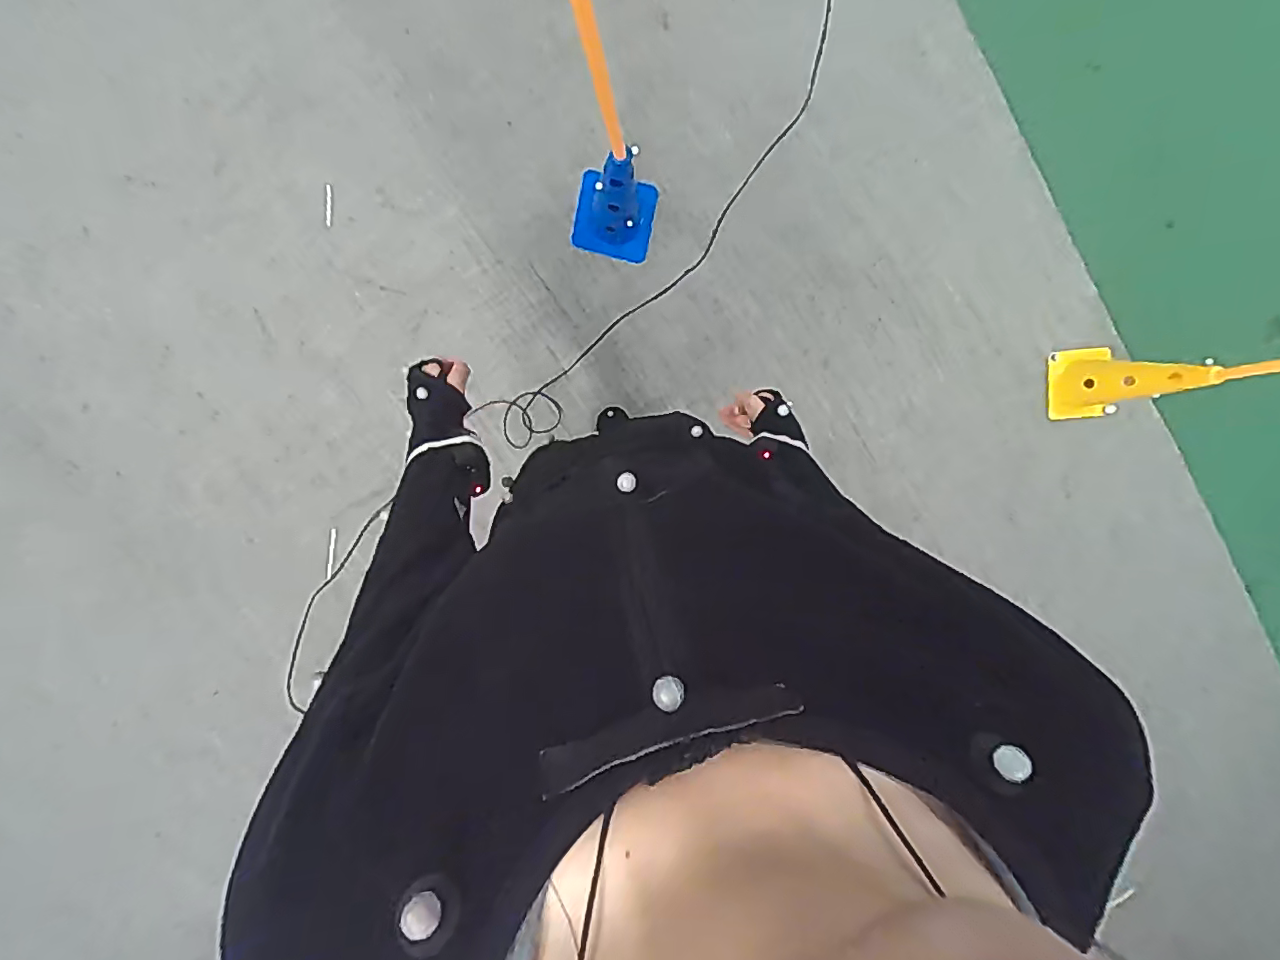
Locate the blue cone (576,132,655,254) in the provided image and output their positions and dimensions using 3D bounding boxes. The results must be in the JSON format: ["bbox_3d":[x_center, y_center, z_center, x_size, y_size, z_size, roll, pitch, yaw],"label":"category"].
[{"bbox_3d":[-0.053,-0.663,1.221,0.193,0.380,0.192,10,97,-5],"label":"blue cone"}]
